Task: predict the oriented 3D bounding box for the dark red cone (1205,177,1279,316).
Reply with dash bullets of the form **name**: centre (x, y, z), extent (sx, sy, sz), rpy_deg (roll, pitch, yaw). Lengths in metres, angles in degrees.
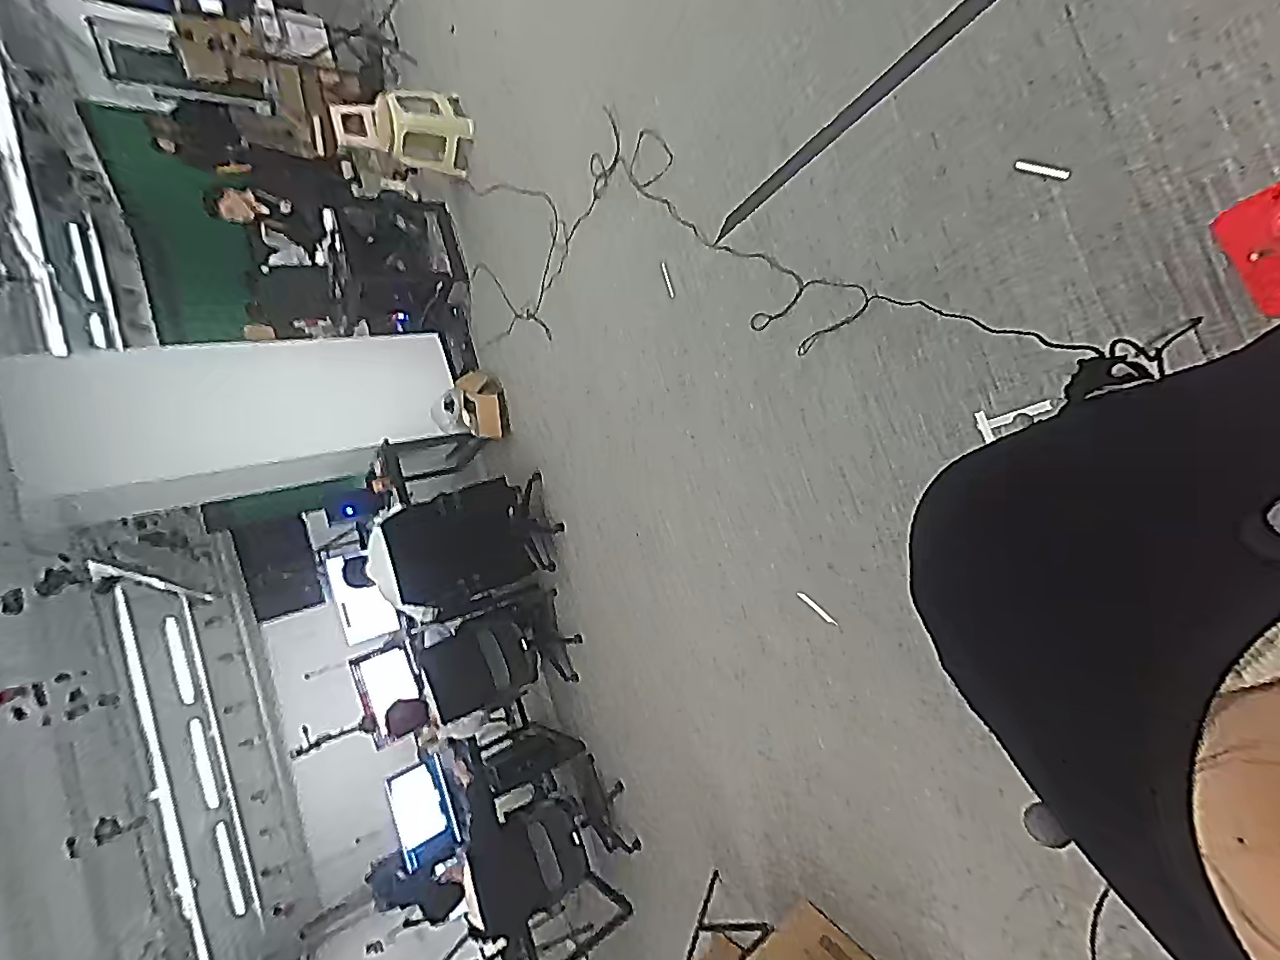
- **dark red cone**: centre (0.891, -0.347, 0.723), extent (0.202, 0.394, 0.201), rpy_deg (-35, 71, 55)
